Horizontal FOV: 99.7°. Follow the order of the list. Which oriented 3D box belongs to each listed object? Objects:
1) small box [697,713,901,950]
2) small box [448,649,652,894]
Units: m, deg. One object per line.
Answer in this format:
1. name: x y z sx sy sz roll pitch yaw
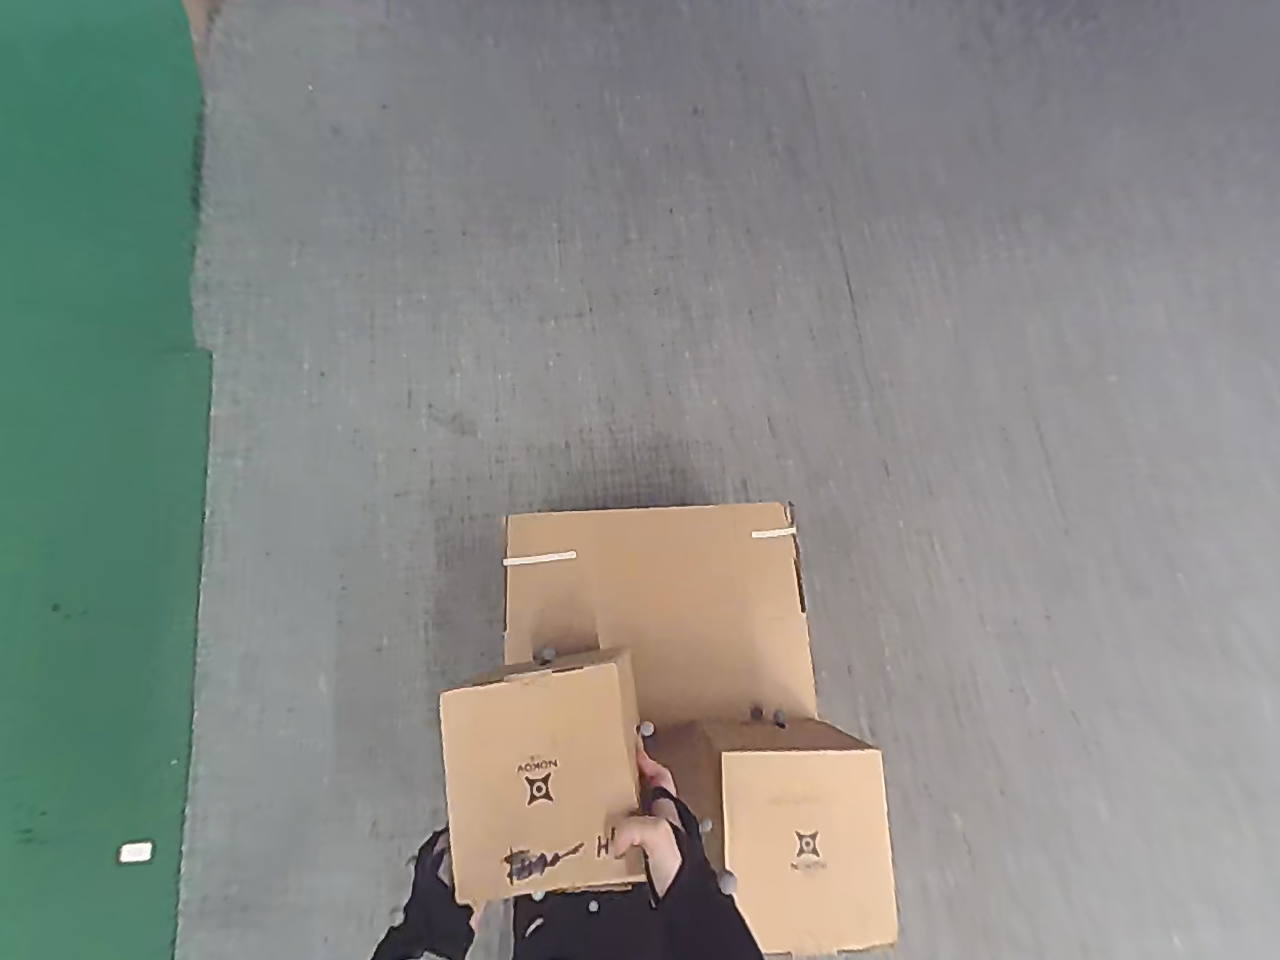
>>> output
1. small box: 0.158 0.366 0.594 0.168 0.176 0.179 1 76 -3
2. small box: -0.081 0.273 0.552 0.168 0.176 0.179 -9 77 0
